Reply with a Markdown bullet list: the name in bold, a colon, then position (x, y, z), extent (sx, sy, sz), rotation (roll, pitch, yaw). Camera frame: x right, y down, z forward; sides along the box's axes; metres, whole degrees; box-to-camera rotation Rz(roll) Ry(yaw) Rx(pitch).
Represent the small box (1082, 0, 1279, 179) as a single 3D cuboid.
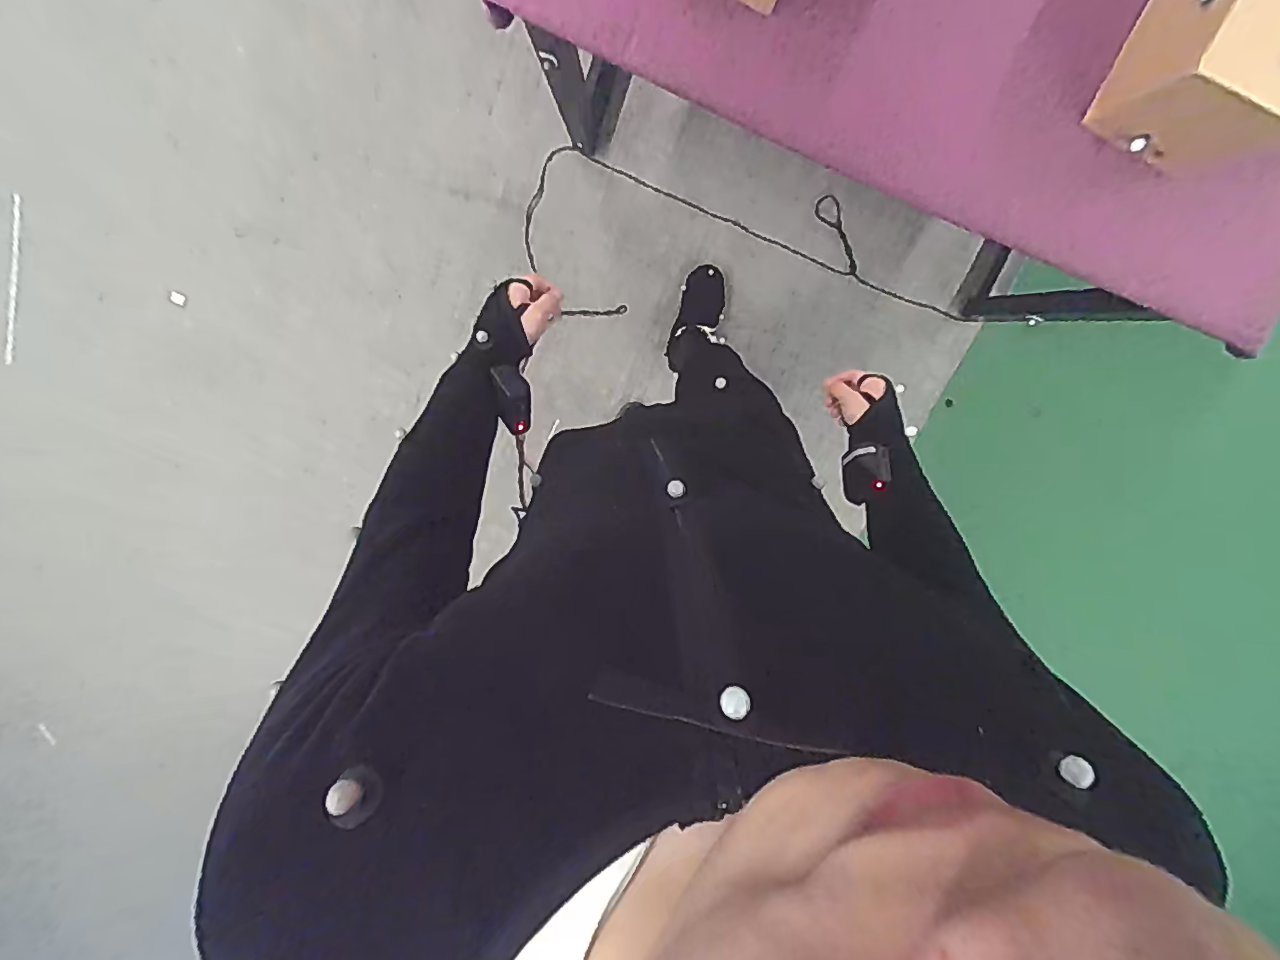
- **small box**: position (0.690, -0.496, 0.639), extent (0.168, 0.176, 0.179), rotation (24, 105, -5)
